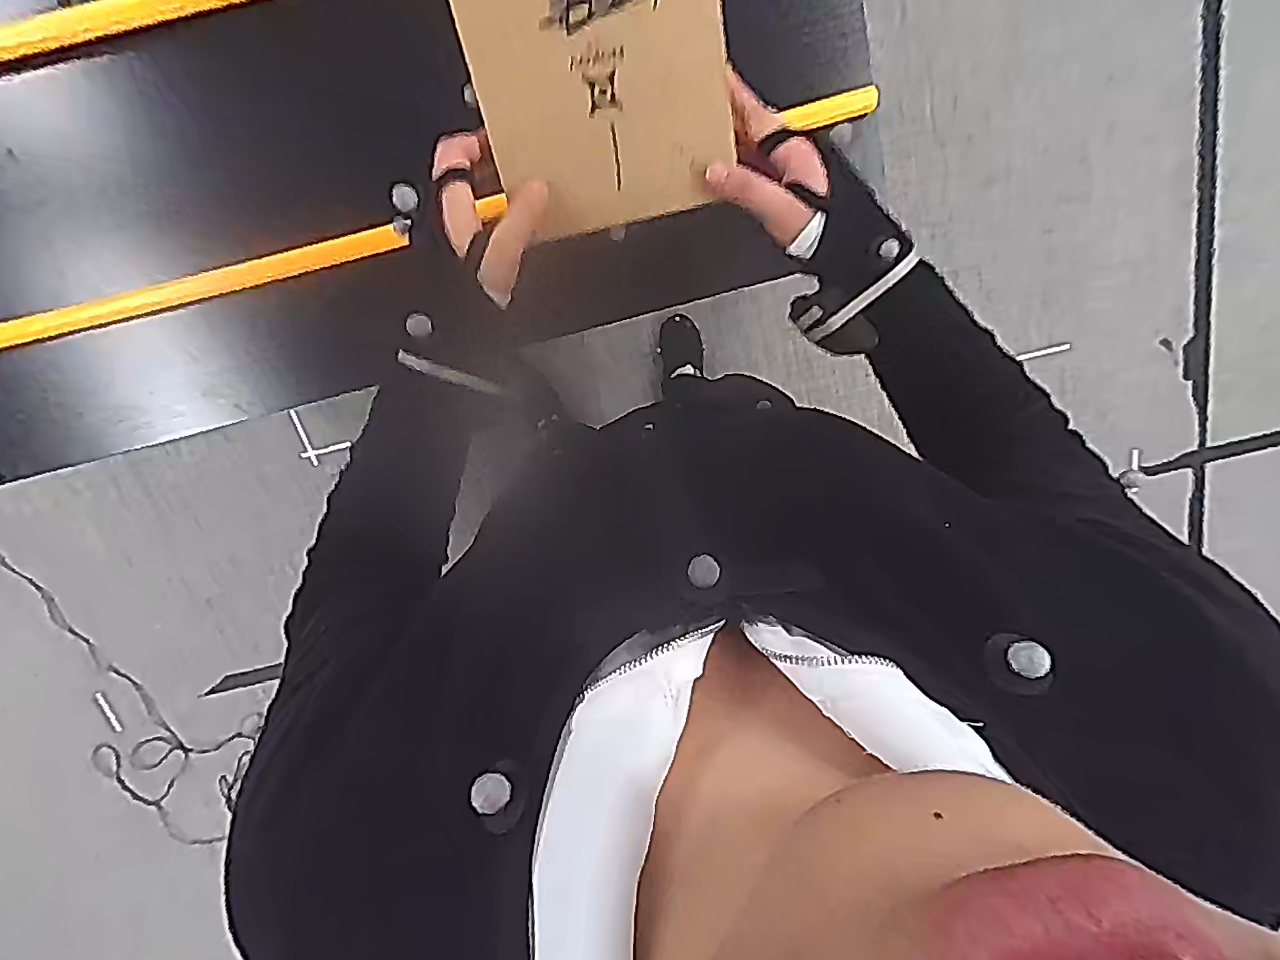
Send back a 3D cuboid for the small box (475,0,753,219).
[{"bbox_3d":[-0.022,-0.313,0.417,0.168,0.176,0.179,-12,119,2],"label":"small box"}]
